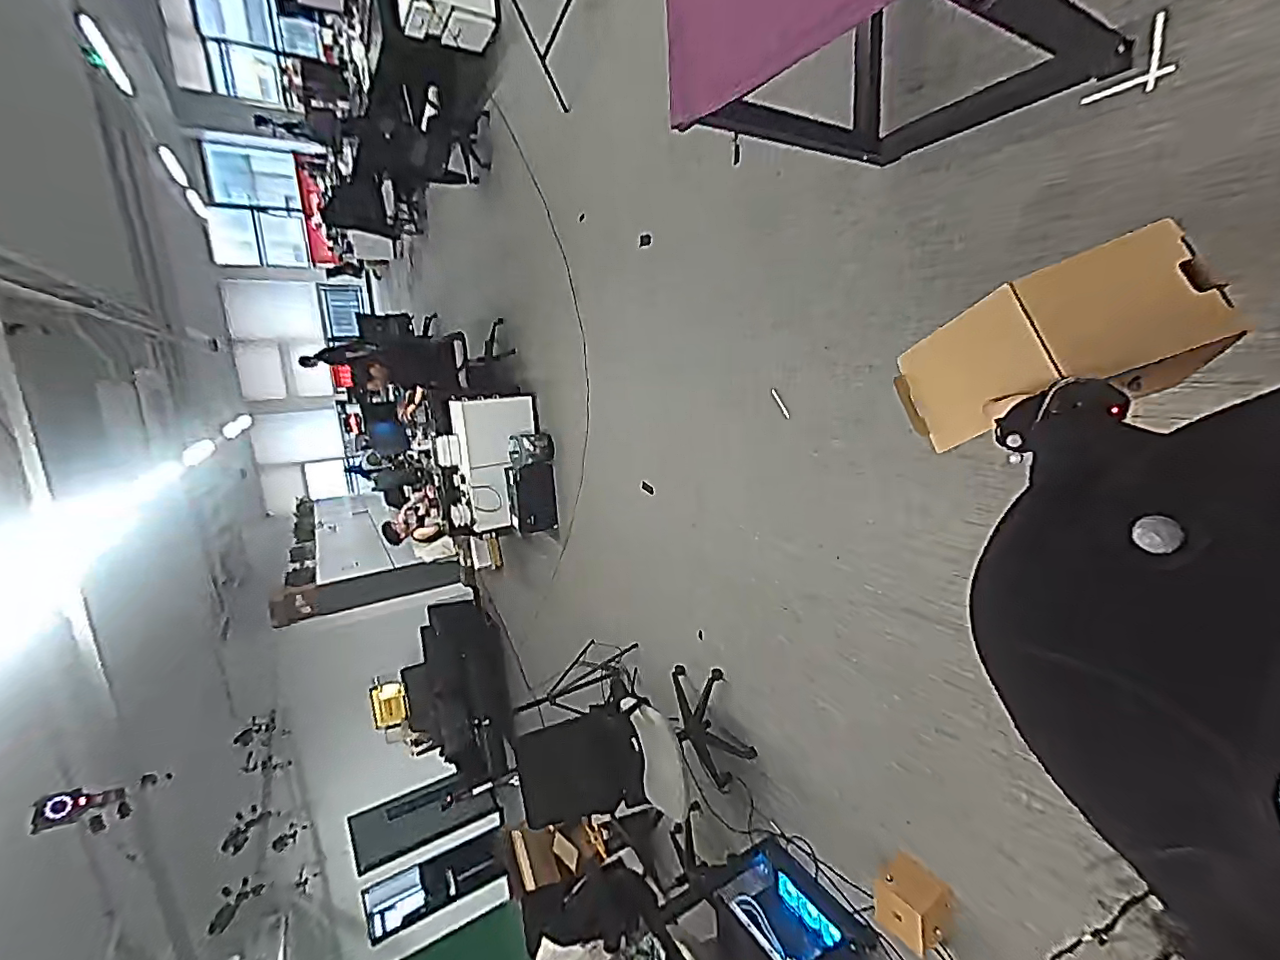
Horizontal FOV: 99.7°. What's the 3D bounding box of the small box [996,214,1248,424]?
[{"bbox_3d":[0.591,-0.191,0.700,0.179,0.176,0.168,-21,71,19],"label":"small box"}]
